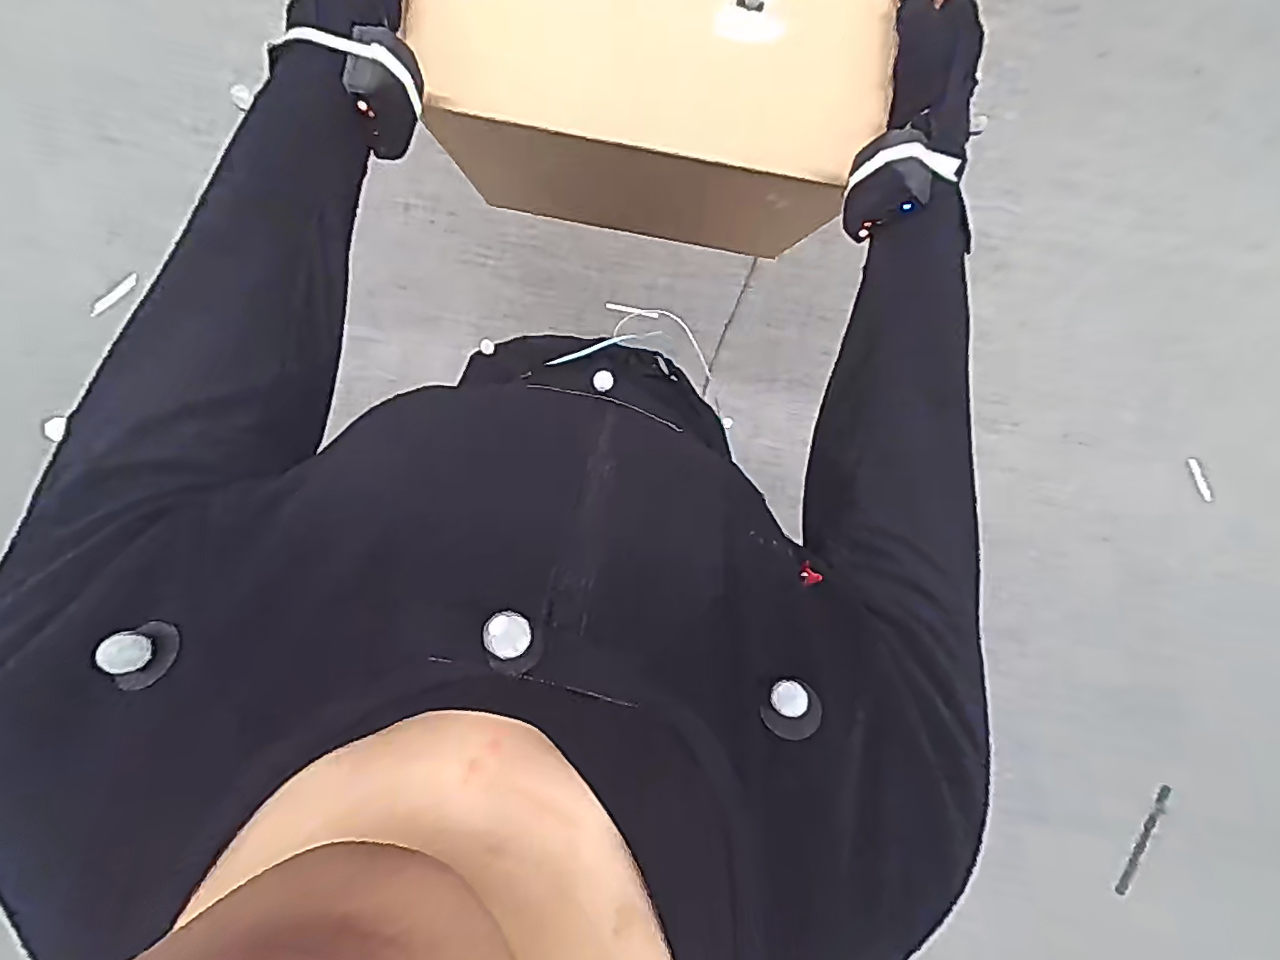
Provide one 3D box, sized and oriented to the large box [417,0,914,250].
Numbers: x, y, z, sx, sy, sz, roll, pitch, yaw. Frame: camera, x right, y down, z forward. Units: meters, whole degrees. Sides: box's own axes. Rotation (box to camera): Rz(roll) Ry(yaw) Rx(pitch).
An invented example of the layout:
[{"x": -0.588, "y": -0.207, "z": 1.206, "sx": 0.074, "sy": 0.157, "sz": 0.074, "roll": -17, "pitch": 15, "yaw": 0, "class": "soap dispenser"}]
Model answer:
[{"x": 0.025, "y": -0.466, "z": 0.573, "sx": 0.408, "sy": 0.320, "sz": 0.320, "roll": 9, "pitch": 103, "yaw": -5, "class": "large box"}]
